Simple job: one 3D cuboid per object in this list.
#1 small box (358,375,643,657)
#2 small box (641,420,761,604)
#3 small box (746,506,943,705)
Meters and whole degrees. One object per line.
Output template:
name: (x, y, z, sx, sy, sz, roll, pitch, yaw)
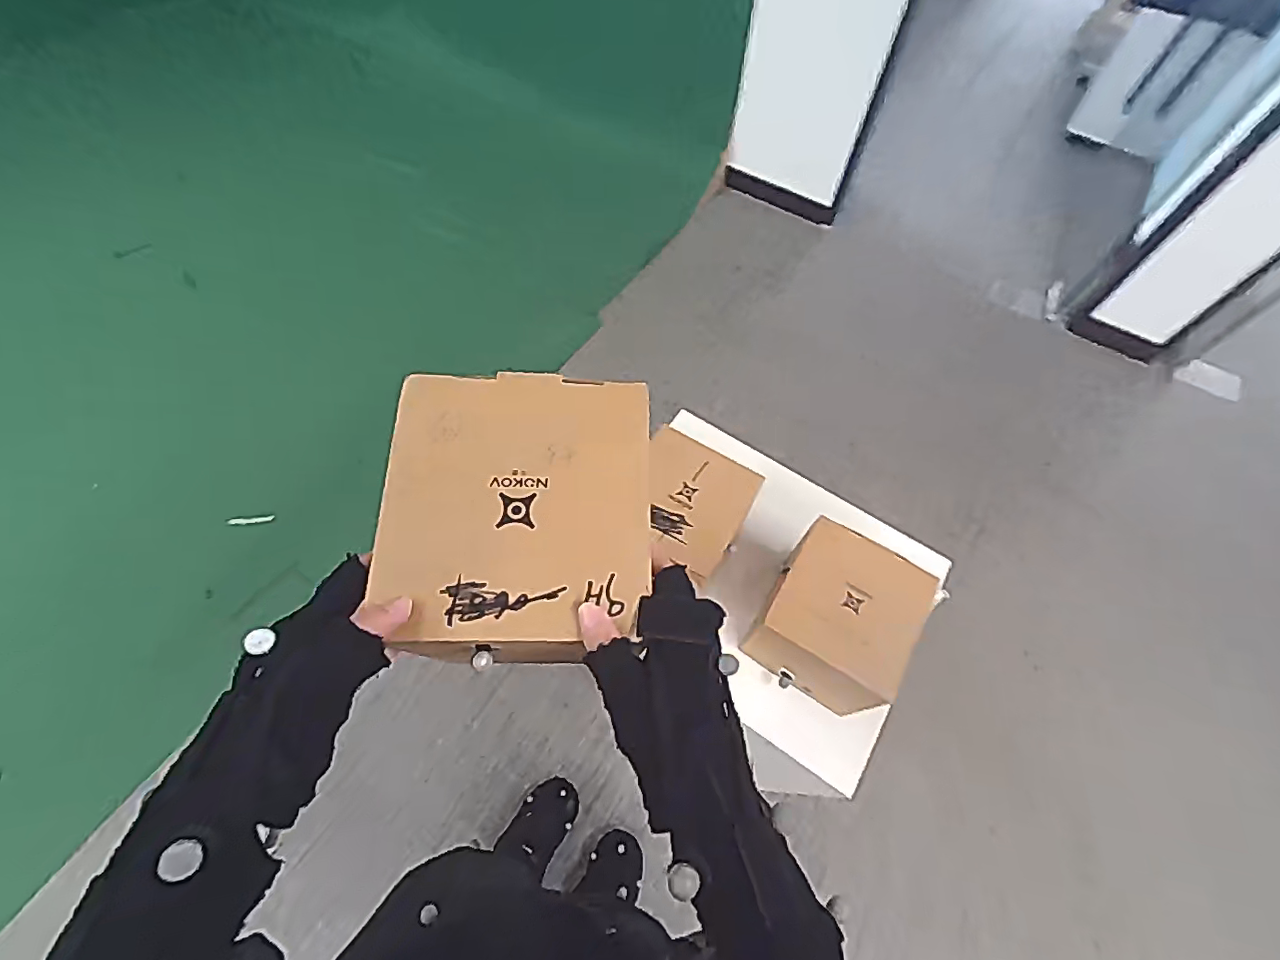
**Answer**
small box: (-0.086, 0.039, 0.417, 0.168, 0.176, 0.179, 1, 69, -4)
small box: (0.052, 0.054, 0.789, 0.168, 0.176, 0.179, 30, 64, 13)
small box: (0.257, 0.172, 0.715, 0.168, 0.176, 0.179, 29, 67, 14)
